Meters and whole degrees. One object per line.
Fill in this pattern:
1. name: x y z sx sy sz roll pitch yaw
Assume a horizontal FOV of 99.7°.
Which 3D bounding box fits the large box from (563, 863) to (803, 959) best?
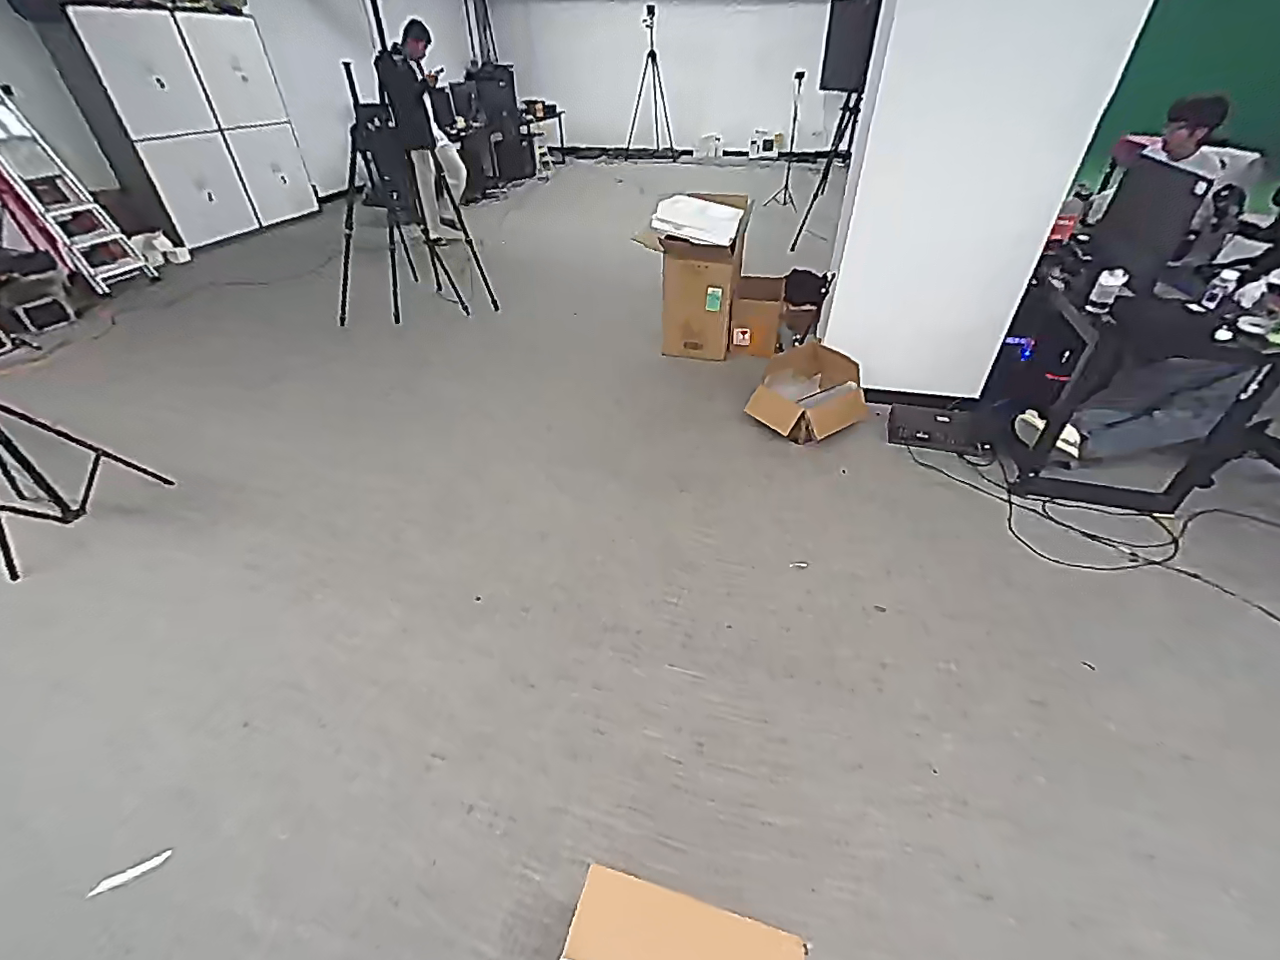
1. large box: 0.055 0.976 0.976 0.408 0.320 0.320 11 40 13
